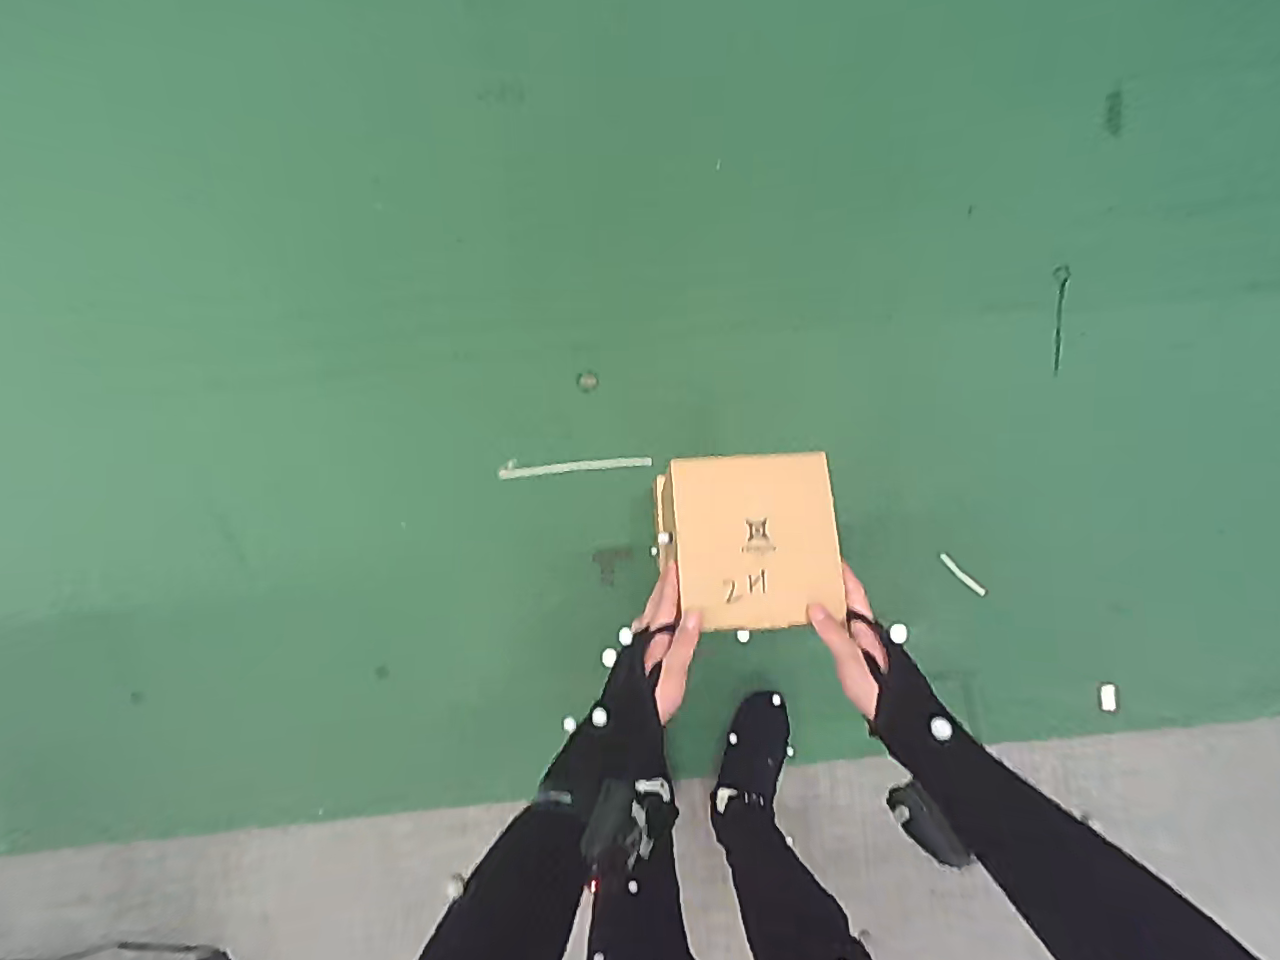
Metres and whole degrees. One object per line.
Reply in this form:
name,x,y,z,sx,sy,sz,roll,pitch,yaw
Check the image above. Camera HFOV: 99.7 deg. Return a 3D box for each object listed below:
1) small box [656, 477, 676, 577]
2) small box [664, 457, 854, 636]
small box,0.118,0.085,1.025,0.168,0.176,0.179,-3,87,0
small box,0.118,0.081,0.611,0.168,0.176,0.179,-2,77,-2
